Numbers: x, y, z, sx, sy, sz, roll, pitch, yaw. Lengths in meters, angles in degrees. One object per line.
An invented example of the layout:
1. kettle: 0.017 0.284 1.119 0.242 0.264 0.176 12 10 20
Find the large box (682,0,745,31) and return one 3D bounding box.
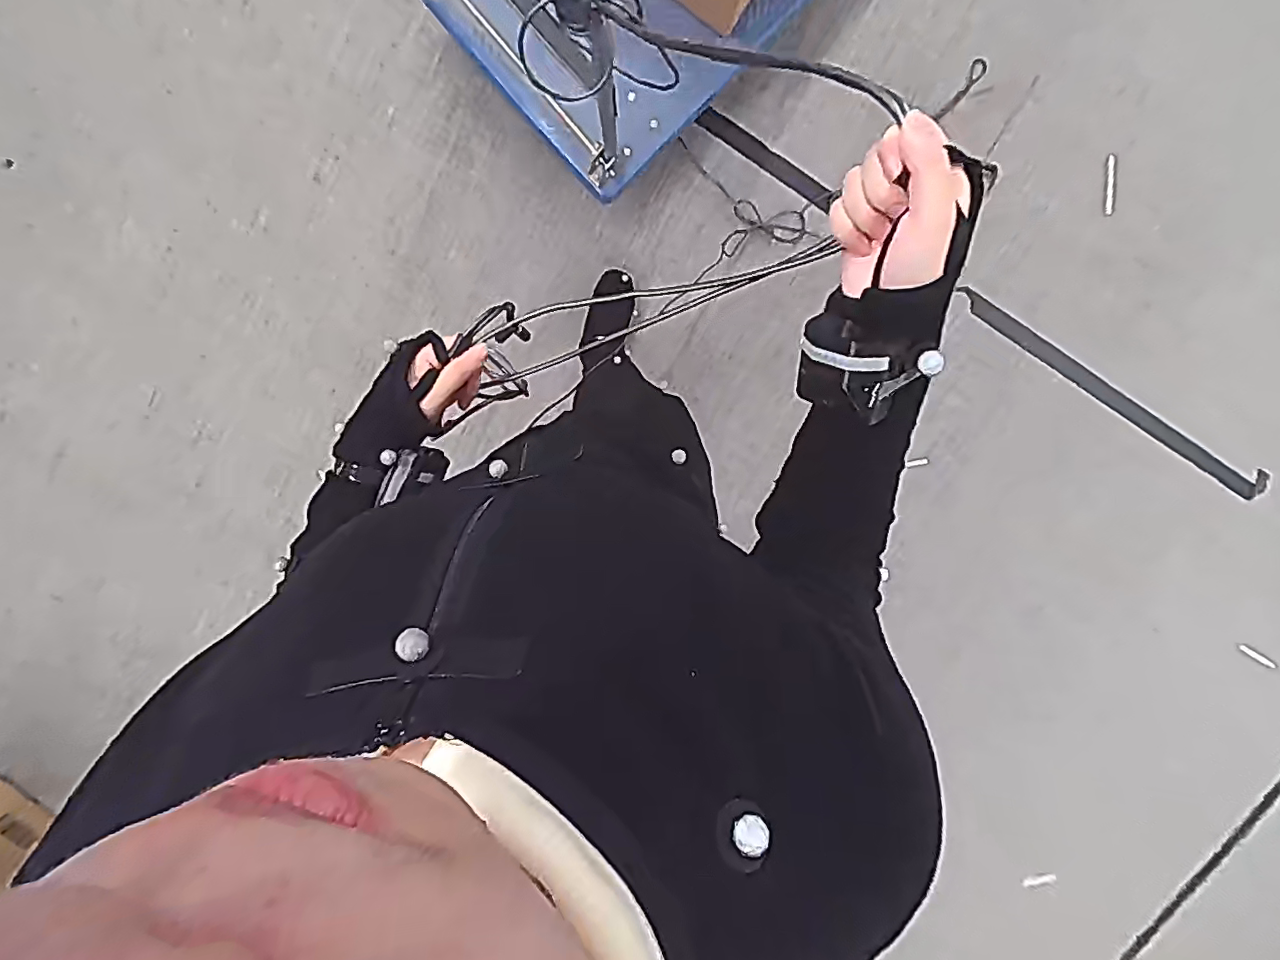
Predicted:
1. large box: 0.097 -1.107 0.912 0.408 0.320 0.320 31 101 -10
